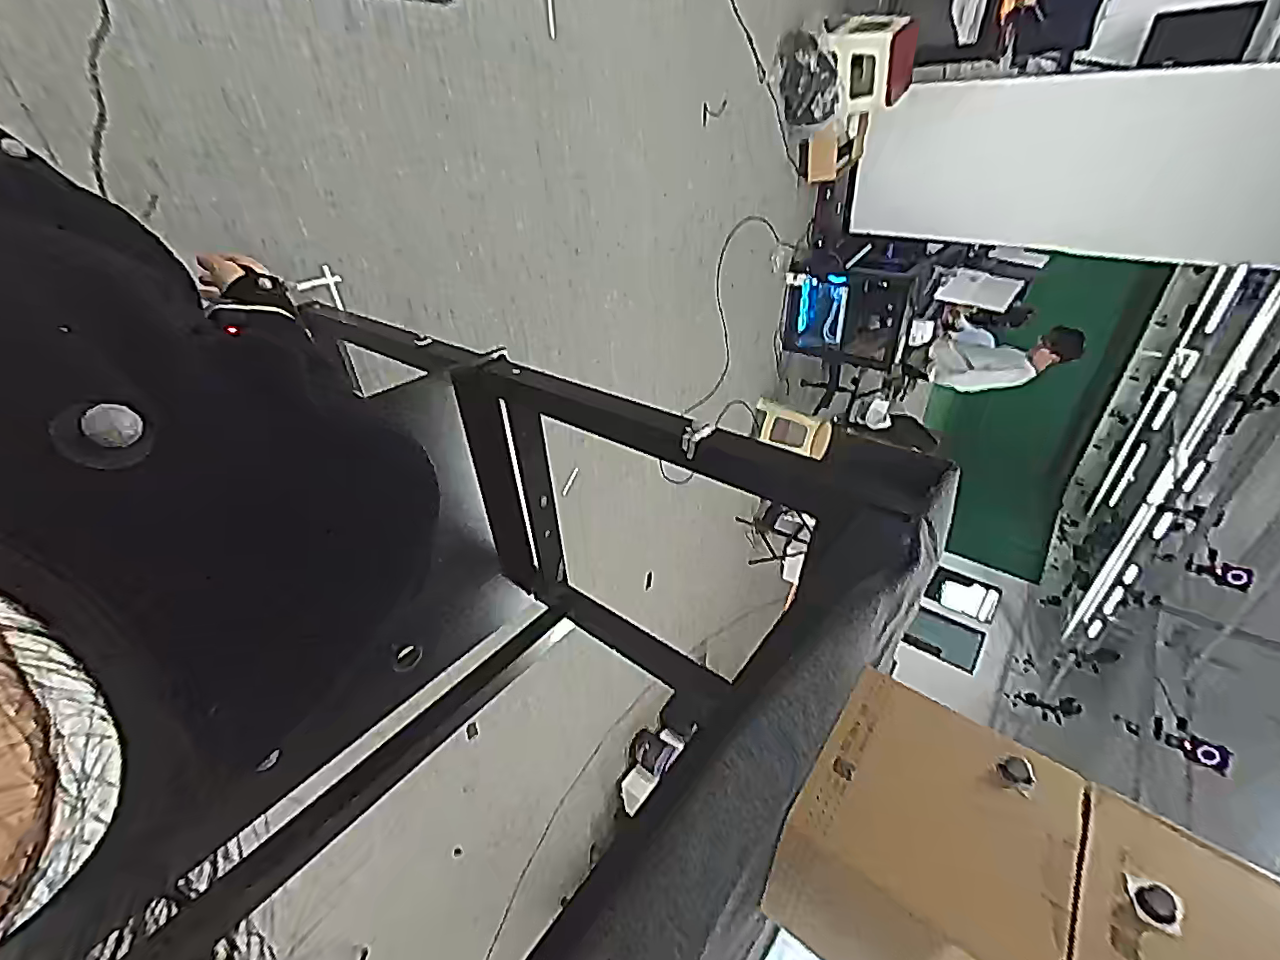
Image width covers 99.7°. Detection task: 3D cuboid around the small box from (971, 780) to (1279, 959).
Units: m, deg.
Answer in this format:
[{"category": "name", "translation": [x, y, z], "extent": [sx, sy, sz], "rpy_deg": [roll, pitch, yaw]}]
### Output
[{"category": "small box", "translation": [0.342, 0.350, 0.368], "extent": [0.168, 0.176, 0.179], "rpy_deg": [-38, 138, -40]}]
